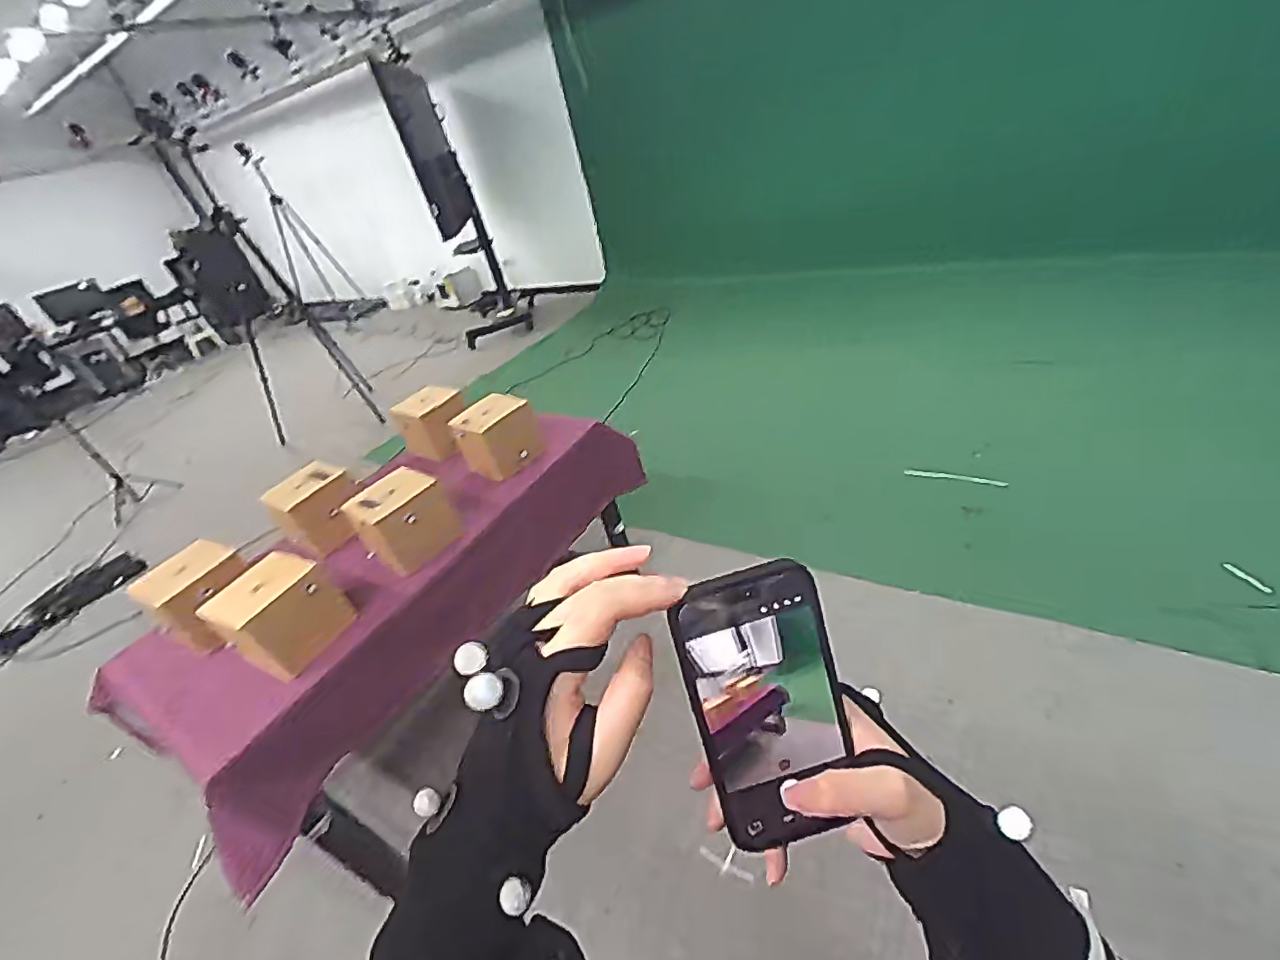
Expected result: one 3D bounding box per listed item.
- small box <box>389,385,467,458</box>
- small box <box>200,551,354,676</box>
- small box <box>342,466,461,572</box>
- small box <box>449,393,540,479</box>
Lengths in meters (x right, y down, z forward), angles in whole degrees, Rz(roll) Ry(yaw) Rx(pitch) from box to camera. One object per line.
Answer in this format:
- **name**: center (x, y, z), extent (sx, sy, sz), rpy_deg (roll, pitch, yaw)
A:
- **small box**: center (-0.661, -0.188, 1.739), extent (0.179, 0.176, 0.168), rpy_deg (14, 45, 34)
- **small box**: center (-0.743, 0.277, 1.125), extent (0.168, 0.176, 0.179), rpy_deg (6, 39, 28)
- **small box**: center (-0.571, 0.094, 1.313), extent (0.168, 0.176, 0.179), rpy_deg (16, 44, 37)
- **small box**: center (-0.409, -0.129, 1.562), extent (0.168, 0.176, 0.179), rpy_deg (16, 45, 38)
